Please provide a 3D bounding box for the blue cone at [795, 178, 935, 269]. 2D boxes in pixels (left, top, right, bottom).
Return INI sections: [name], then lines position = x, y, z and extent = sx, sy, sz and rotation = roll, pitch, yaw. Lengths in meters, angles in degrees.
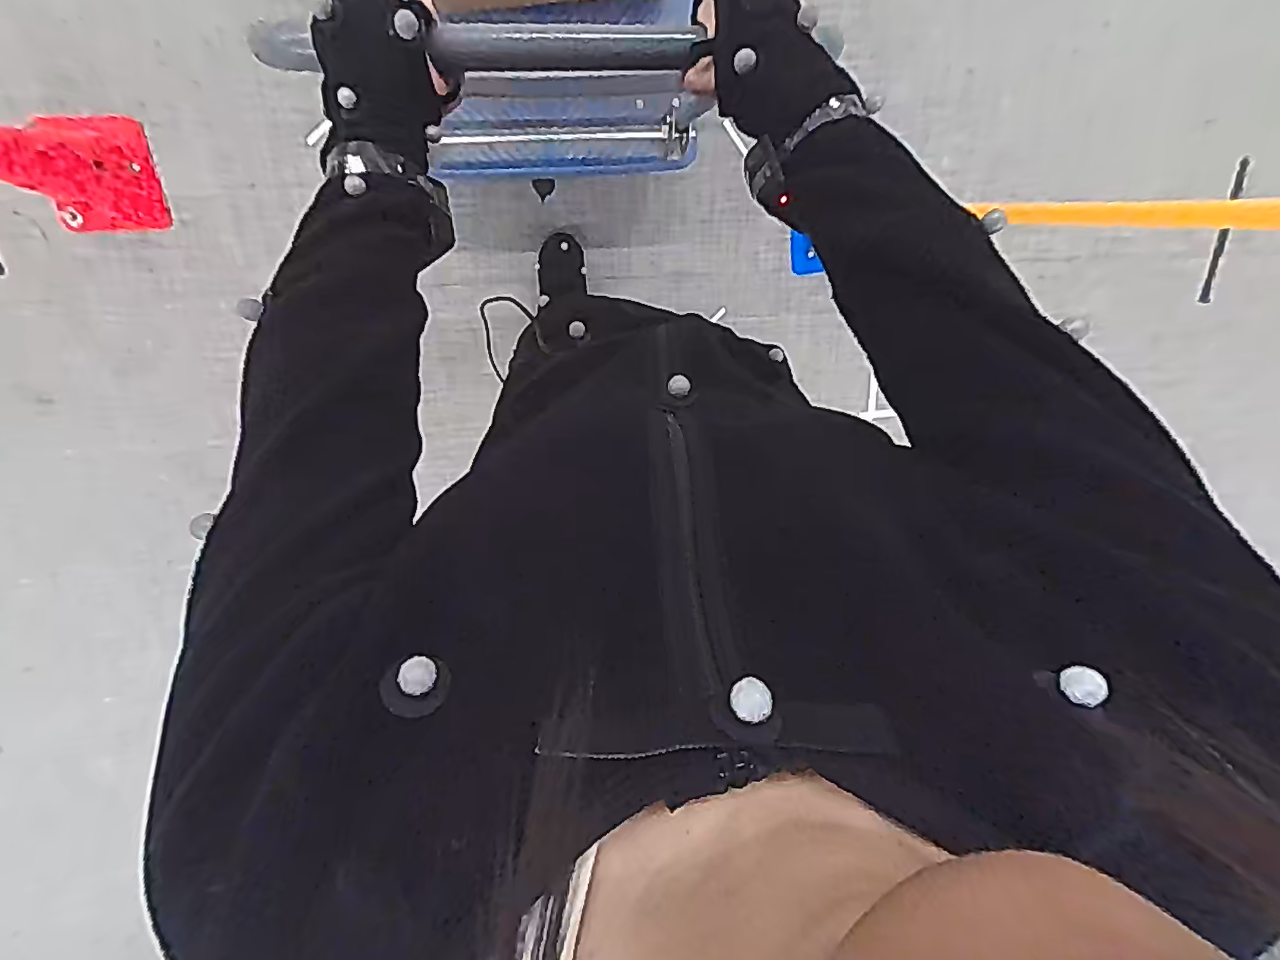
[blue cone]
position = 0.494, -0.564, 1.156
extent = 0.193, 0.380, 0.192
rotation = -8, 111, -7
